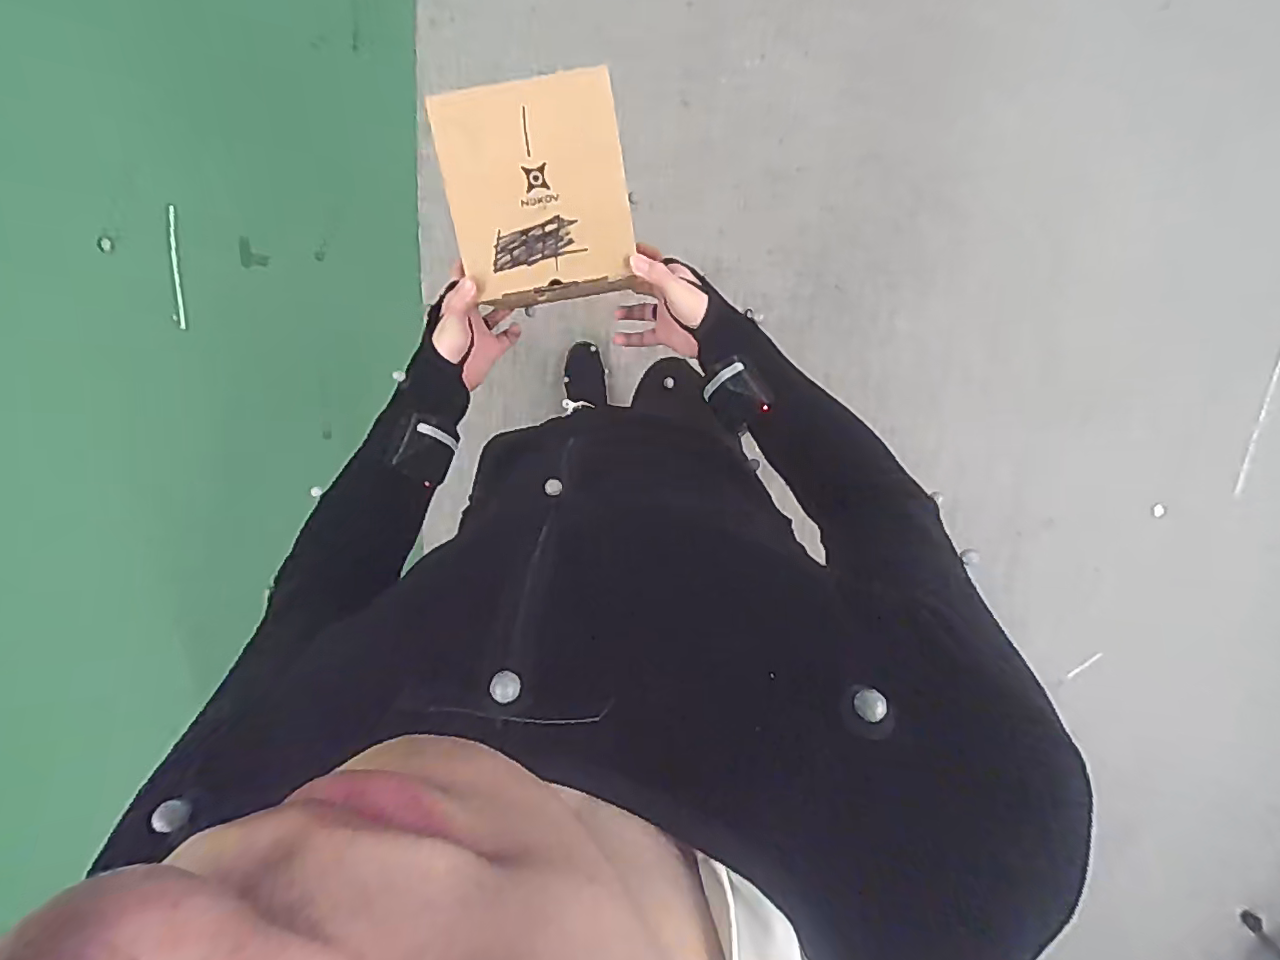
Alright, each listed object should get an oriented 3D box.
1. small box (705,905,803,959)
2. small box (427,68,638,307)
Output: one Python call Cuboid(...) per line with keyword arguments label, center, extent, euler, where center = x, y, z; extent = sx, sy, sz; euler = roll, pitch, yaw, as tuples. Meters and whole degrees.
Cuboid(label="small box", center=(0.222, 0.965, 1.033), extent=(0.168, 0.176, 0.179), euler=(3, 103, -3))
Cuboid(label="small box", center=(-0.093, -0.279, 0.560), extent=(0.168, 0.176, 0.179), euler=(-8, 104, 0))
